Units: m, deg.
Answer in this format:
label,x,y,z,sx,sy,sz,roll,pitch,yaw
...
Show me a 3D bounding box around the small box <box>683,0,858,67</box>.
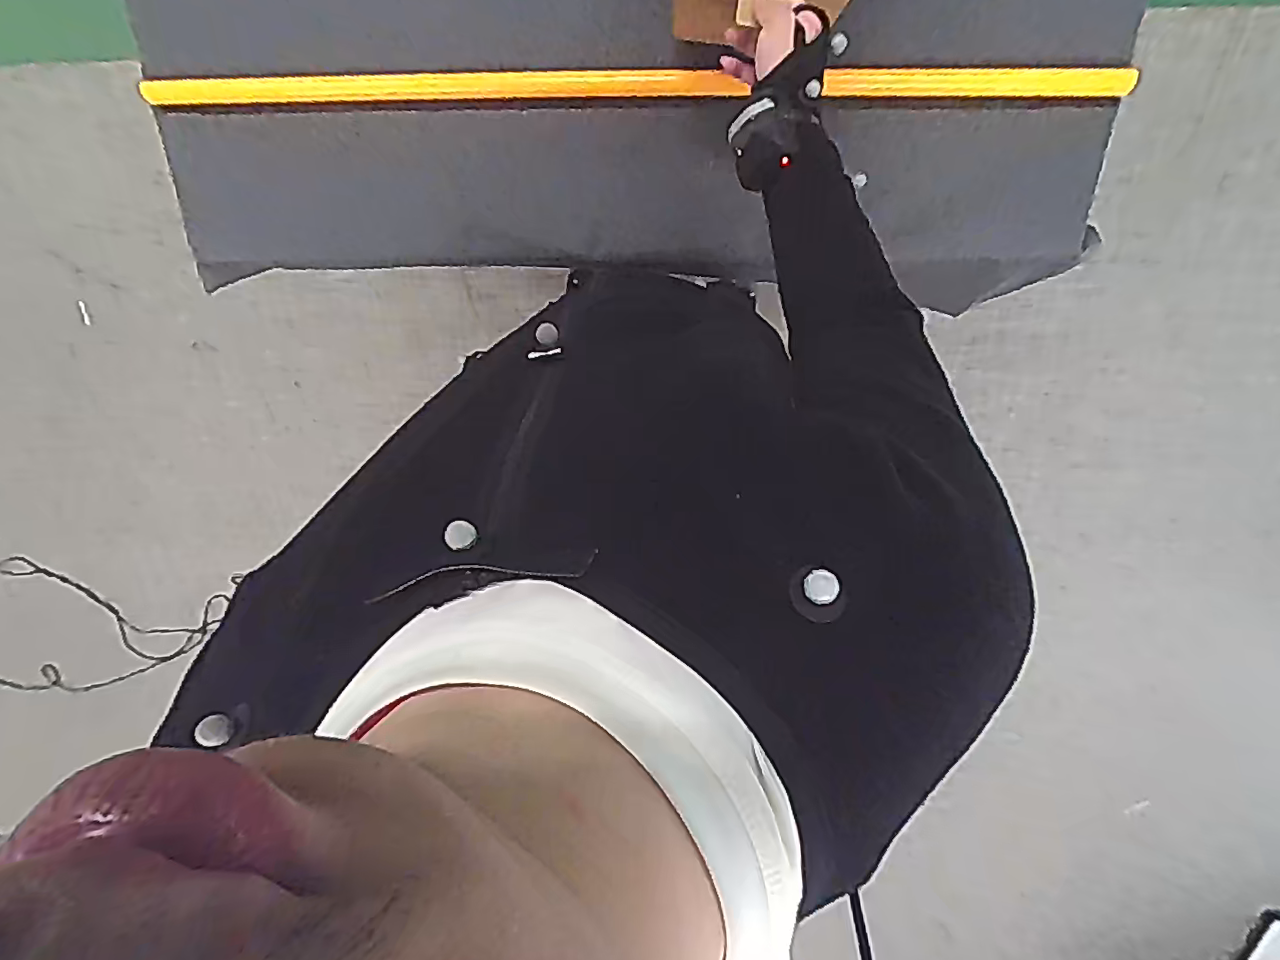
label,x,y,z,sx,sy,sz,roll,pitch,yaw
small box,0.135,-0.550,0.545,0.168,0.176,0.179,6,109,2
